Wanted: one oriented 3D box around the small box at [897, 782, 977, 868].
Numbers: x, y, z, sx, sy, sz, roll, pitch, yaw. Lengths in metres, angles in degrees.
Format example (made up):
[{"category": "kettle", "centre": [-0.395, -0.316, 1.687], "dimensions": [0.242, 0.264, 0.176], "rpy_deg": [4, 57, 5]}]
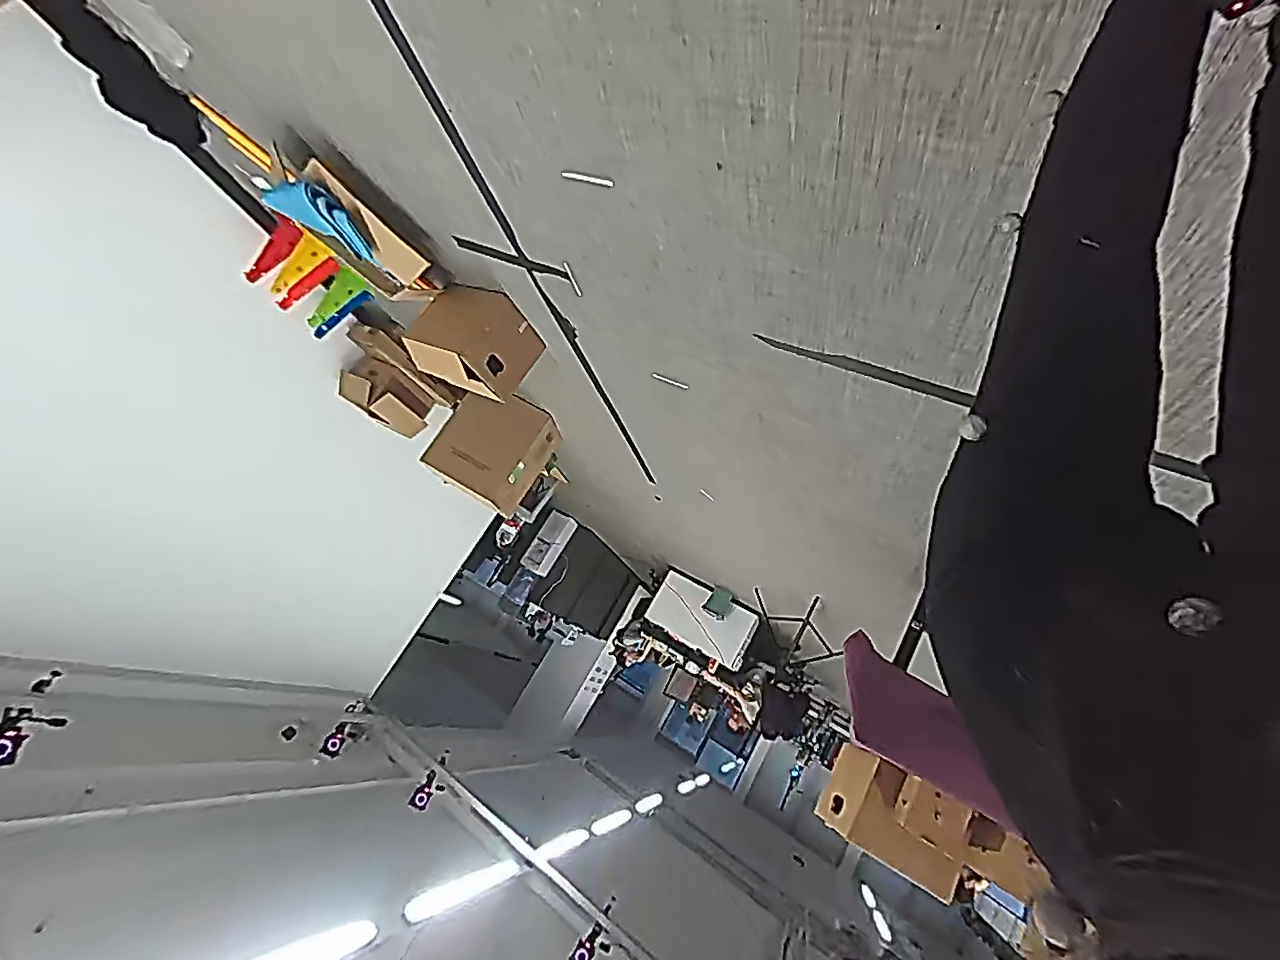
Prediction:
[{"category": "small box", "centre": [0.970, 1.117, 1.768], "dimensions": [0.168, 0.176, 0.179], "rpy_deg": [27, 165, 24]}]
